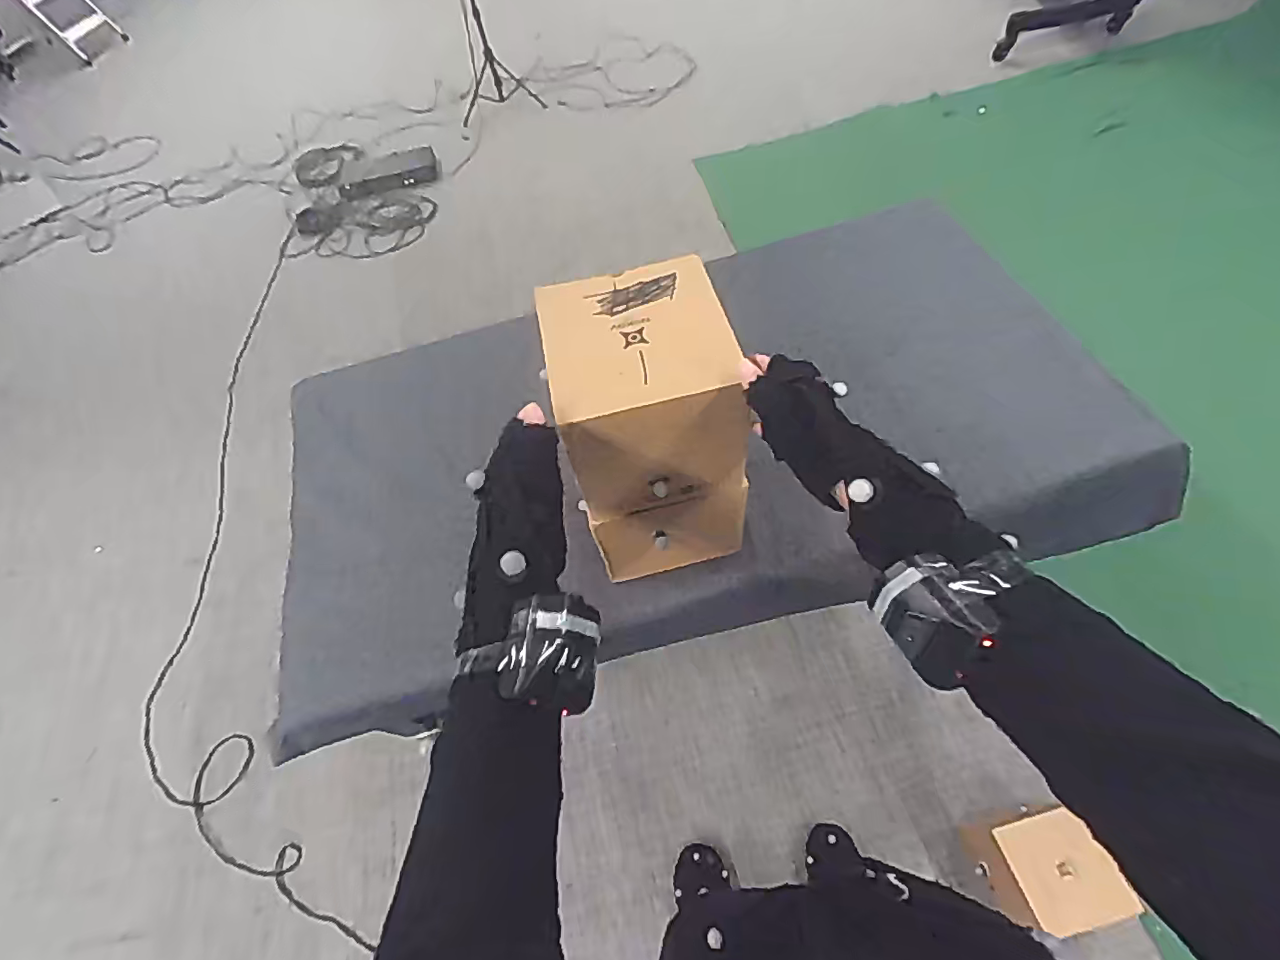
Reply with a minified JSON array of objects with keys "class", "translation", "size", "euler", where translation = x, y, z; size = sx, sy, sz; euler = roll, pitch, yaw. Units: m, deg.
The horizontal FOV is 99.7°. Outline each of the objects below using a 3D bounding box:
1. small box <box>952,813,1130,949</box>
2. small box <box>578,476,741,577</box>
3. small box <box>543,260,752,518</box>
[{"class":"small box","translation":[0.731,0.736,1.012],"size":[0.179,0.176,0.168],"euler":[-16,57,-1]},{"class":"small box","translation":[0.021,0.006,0.685],"size":[0.179,0.176,0.168],"euler":[-13,57,-1]},{"class":"small box","translation":[0.005,-0.087,0.550],"size":[0.168,0.176,0.179],"euler":[-12,58,-1]}]
